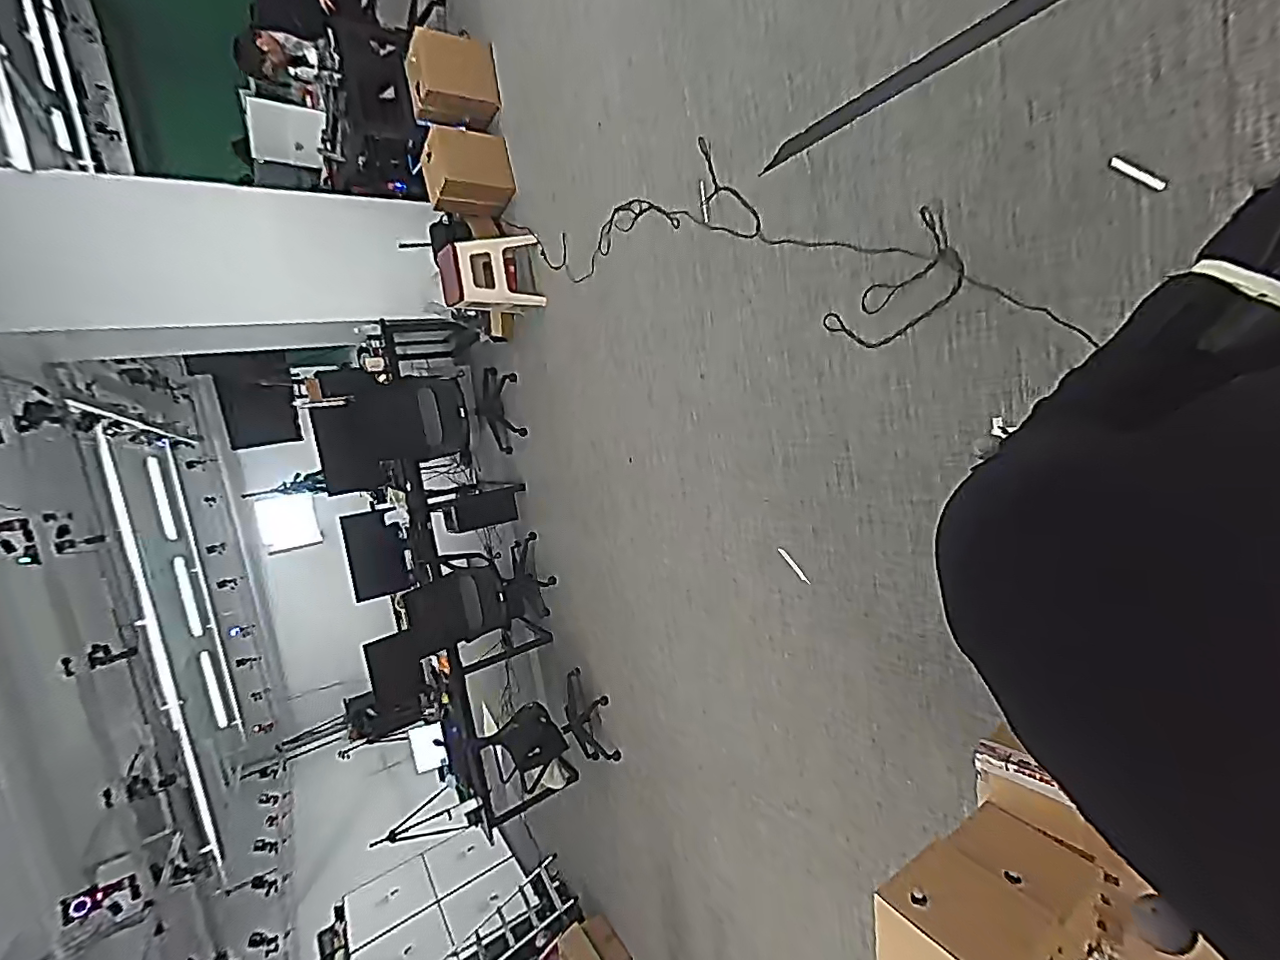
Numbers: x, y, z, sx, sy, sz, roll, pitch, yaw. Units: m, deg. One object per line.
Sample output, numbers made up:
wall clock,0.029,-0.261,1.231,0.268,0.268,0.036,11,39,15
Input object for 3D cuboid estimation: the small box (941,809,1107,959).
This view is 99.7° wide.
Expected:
small box,0.617,0.683,0.879,0.179,0.176,0.168,15,112,58

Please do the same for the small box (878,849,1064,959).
small box,0.476,0.687,0.790,0.179,0.176,0.168,9,107,58
